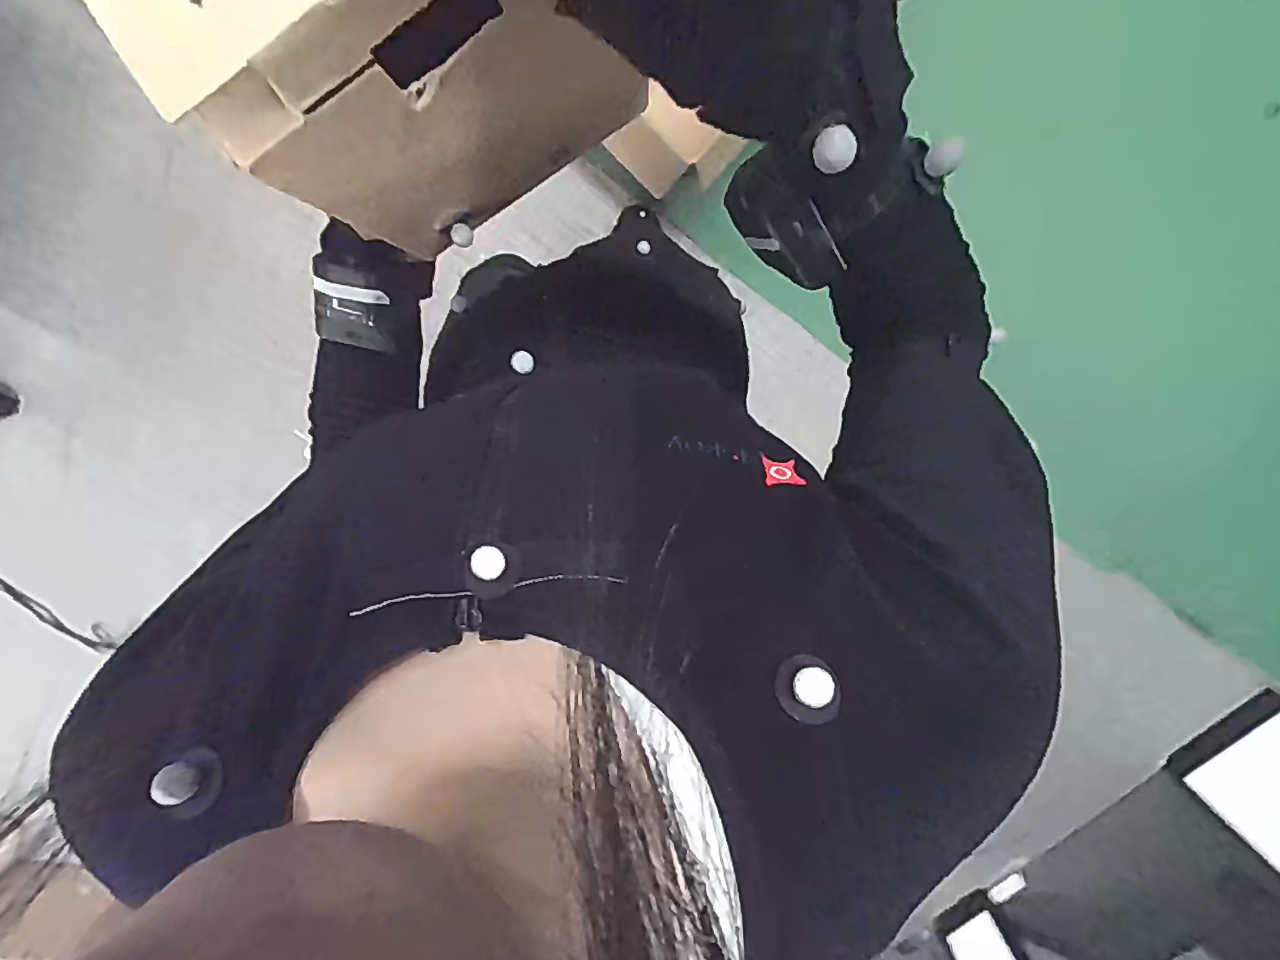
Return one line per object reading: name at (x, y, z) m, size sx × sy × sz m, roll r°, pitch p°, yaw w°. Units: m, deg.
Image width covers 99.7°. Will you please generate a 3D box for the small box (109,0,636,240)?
small box at (-0.110, -0.230, 0.236) m, size 0.168 × 0.176 × 0.179 m, roll -32°, pitch 99°, yaw 6°
